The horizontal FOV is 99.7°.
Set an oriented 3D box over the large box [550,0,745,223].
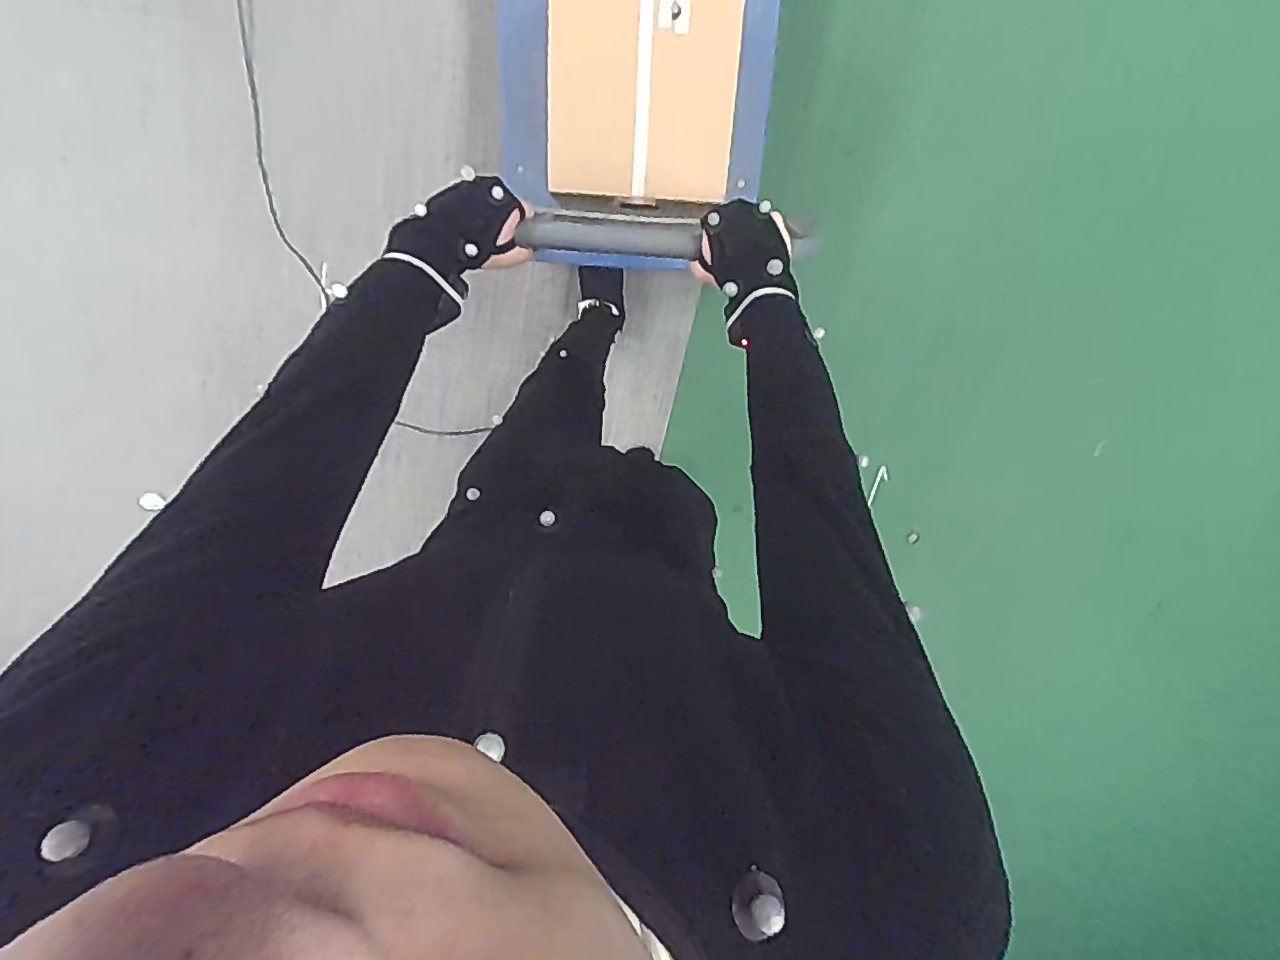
[{"bbox_3d":[0.009,-0.732,1.027,0.320,0.320,0.408,3,108,-2],"label":"large box"}]
